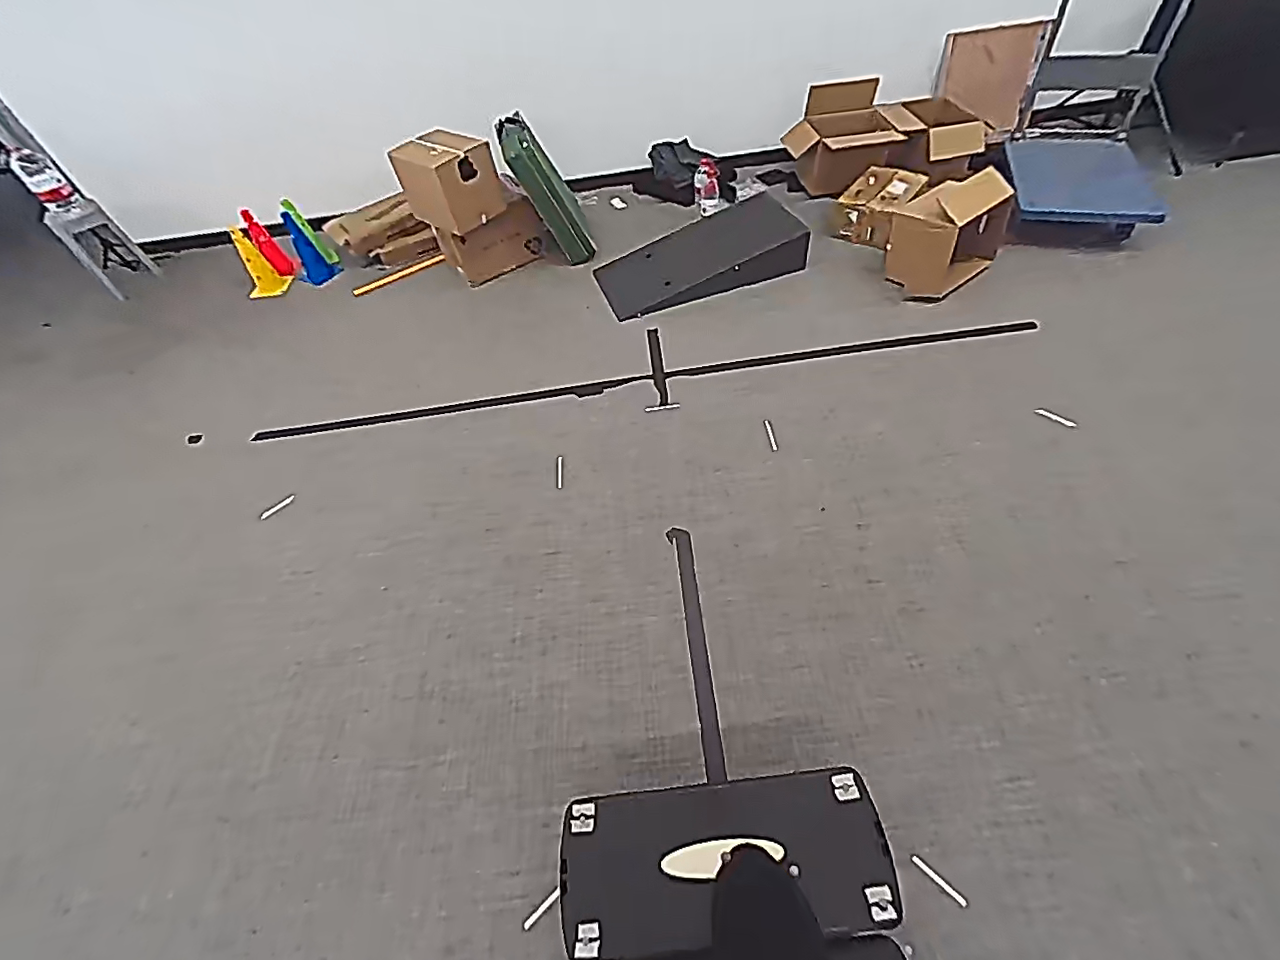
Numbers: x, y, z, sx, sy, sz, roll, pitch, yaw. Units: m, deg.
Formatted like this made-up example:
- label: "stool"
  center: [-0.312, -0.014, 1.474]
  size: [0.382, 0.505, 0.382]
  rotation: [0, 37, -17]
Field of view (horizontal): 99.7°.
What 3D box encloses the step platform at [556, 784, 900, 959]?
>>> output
- label: "step platform"
  center: [0.167, 0.847, 1.143]
  size: [0.684, 0.204, 0.286]
  rotation: [-8, 51, 0]
